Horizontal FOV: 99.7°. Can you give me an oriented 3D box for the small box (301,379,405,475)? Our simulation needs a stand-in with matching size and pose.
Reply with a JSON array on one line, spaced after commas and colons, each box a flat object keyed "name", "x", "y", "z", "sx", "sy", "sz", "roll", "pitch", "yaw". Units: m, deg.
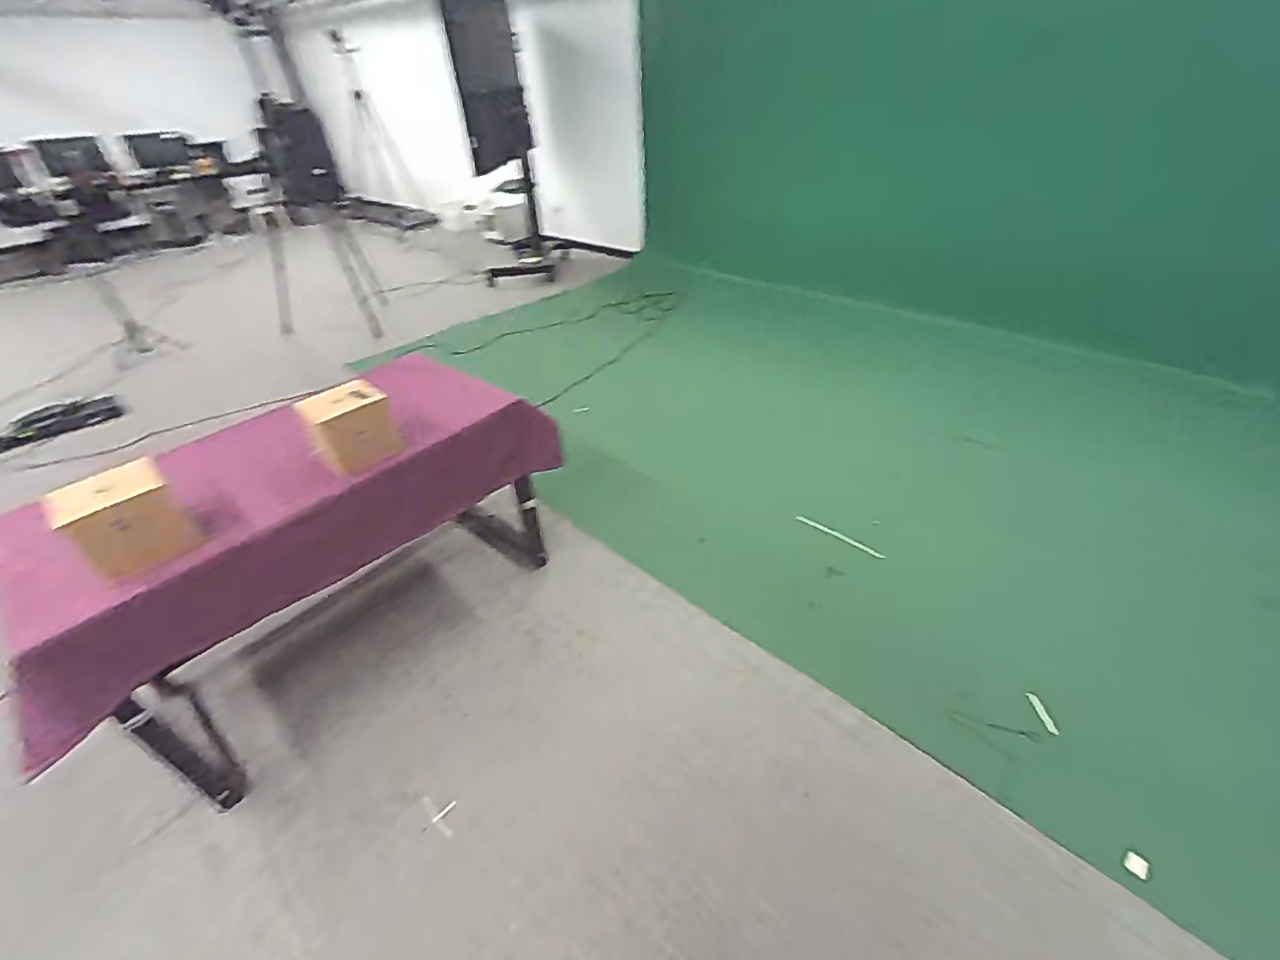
[{"name": "small box", "x": -0.754, "y": -0.143, "z": 1.442, "sx": 0.168, "sy": 0.176, "sz": 0.179, "roll": 27, "pitch": 48, "yaw": 35}]

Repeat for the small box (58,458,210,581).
[{"name": "small box", "x": -1.087, "y": 0.085, "z": 1.171, "sx": 0.168, "sy": 0.176, "sz": 0.179, "roll": 28, "pitch": 48, "yaw": 35}]
